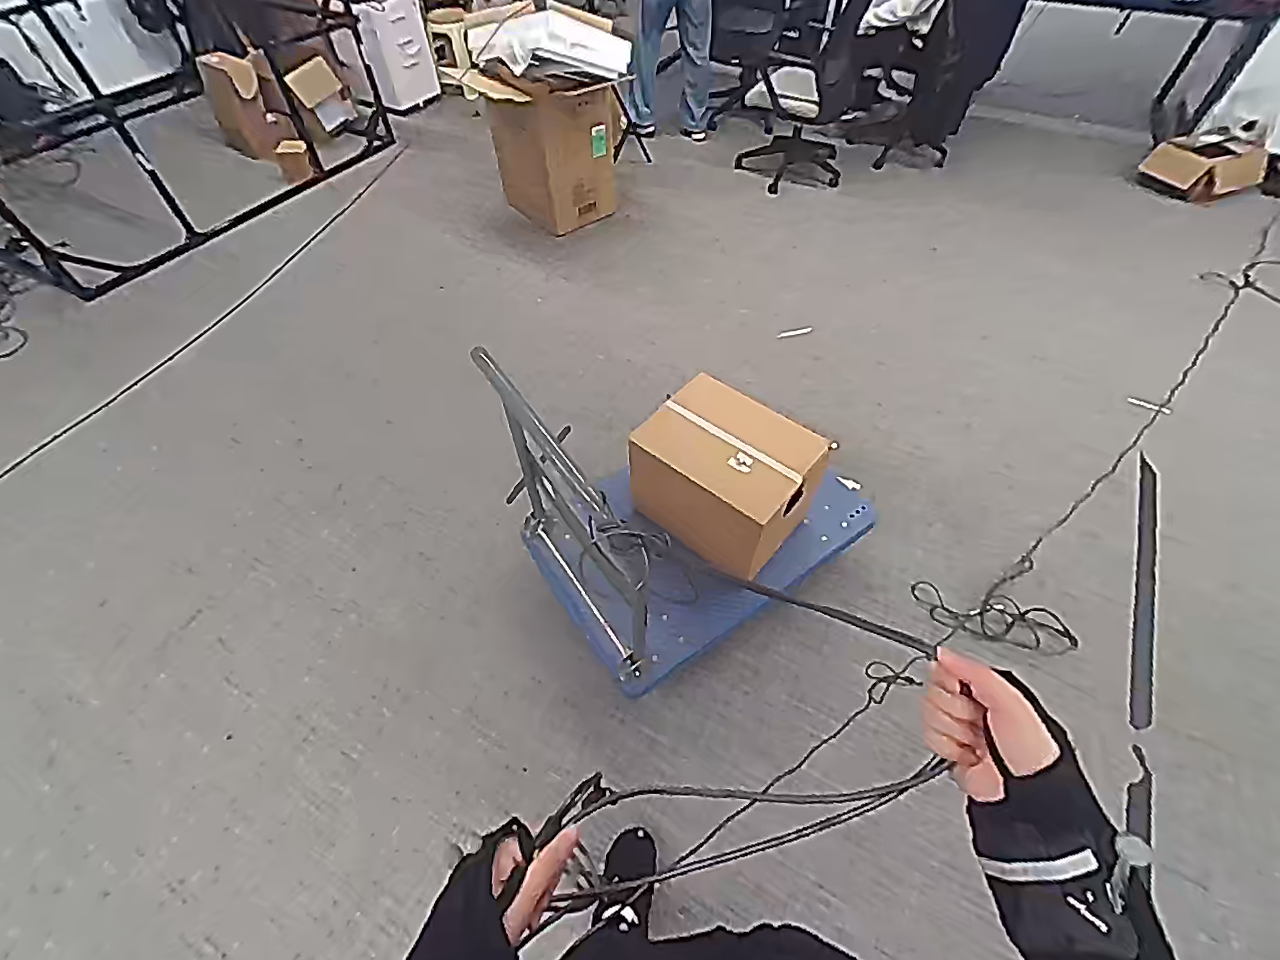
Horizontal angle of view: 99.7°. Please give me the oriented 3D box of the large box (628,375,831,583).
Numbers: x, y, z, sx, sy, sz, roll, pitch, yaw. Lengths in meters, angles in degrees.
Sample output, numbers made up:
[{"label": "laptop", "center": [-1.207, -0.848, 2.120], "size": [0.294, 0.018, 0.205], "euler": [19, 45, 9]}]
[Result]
[{"label": "large box", "center": [0.216, -0.006, 1.435], "size": [0.408, 0.320, 0.320], "euler": [34, 62, 23]}]
